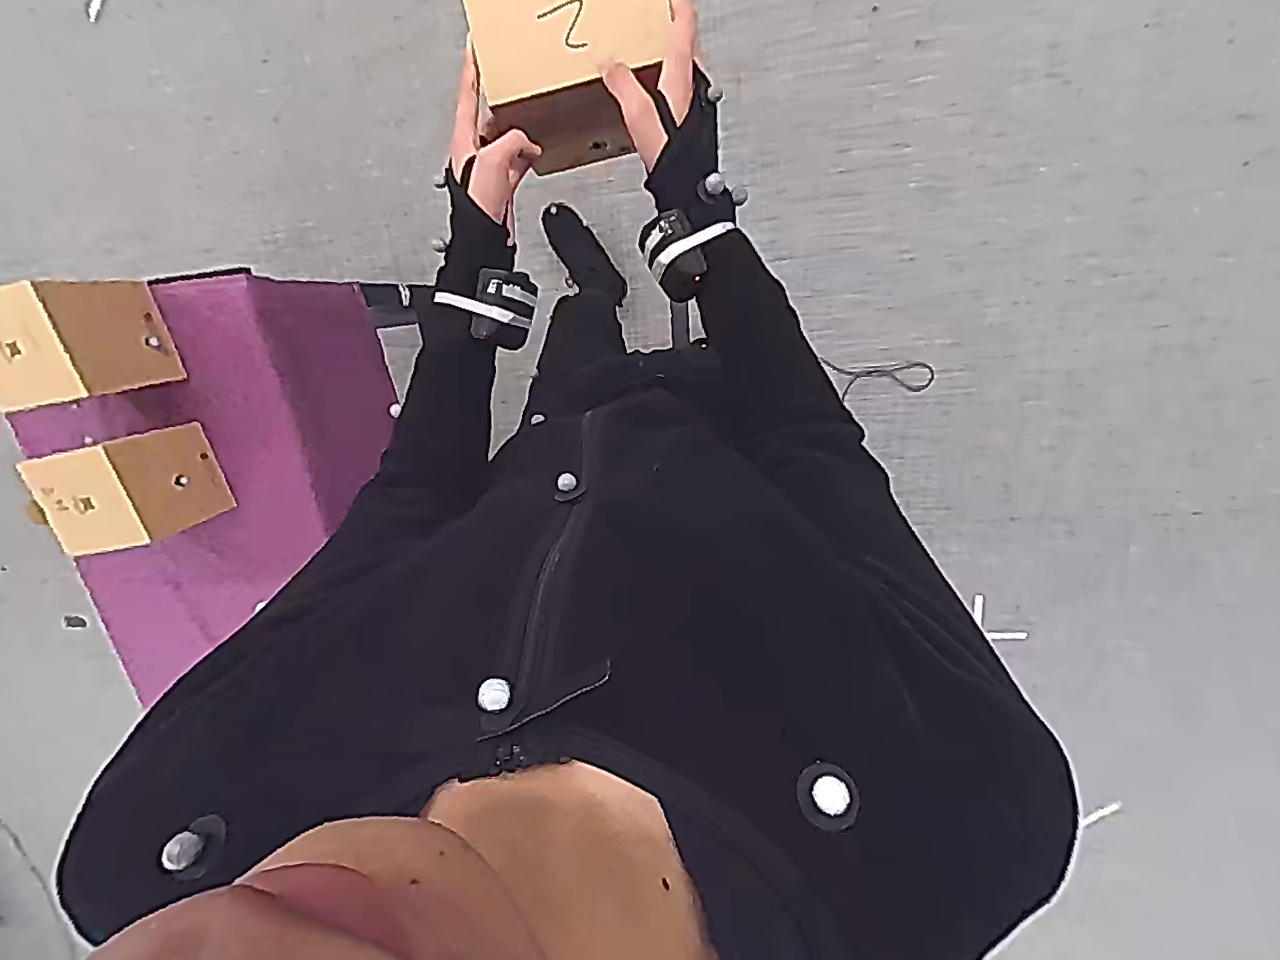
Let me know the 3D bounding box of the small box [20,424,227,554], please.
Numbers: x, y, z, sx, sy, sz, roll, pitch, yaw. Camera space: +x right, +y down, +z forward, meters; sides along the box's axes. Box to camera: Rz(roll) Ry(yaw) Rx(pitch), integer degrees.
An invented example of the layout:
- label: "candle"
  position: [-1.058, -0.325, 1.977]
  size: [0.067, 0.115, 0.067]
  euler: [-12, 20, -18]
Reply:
- label: "small box"
  position: [-0.863, 0.009, 0.930]
  size: [0.179, 0.176, 0.168]
  euler: [-8, 108, 12]

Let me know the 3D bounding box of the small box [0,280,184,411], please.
- label: "small box"
  position: [-0.891, -0.216, 0.854]
  size: [0.179, 0.176, 0.168]
  euler: [-7, 110, 11]
